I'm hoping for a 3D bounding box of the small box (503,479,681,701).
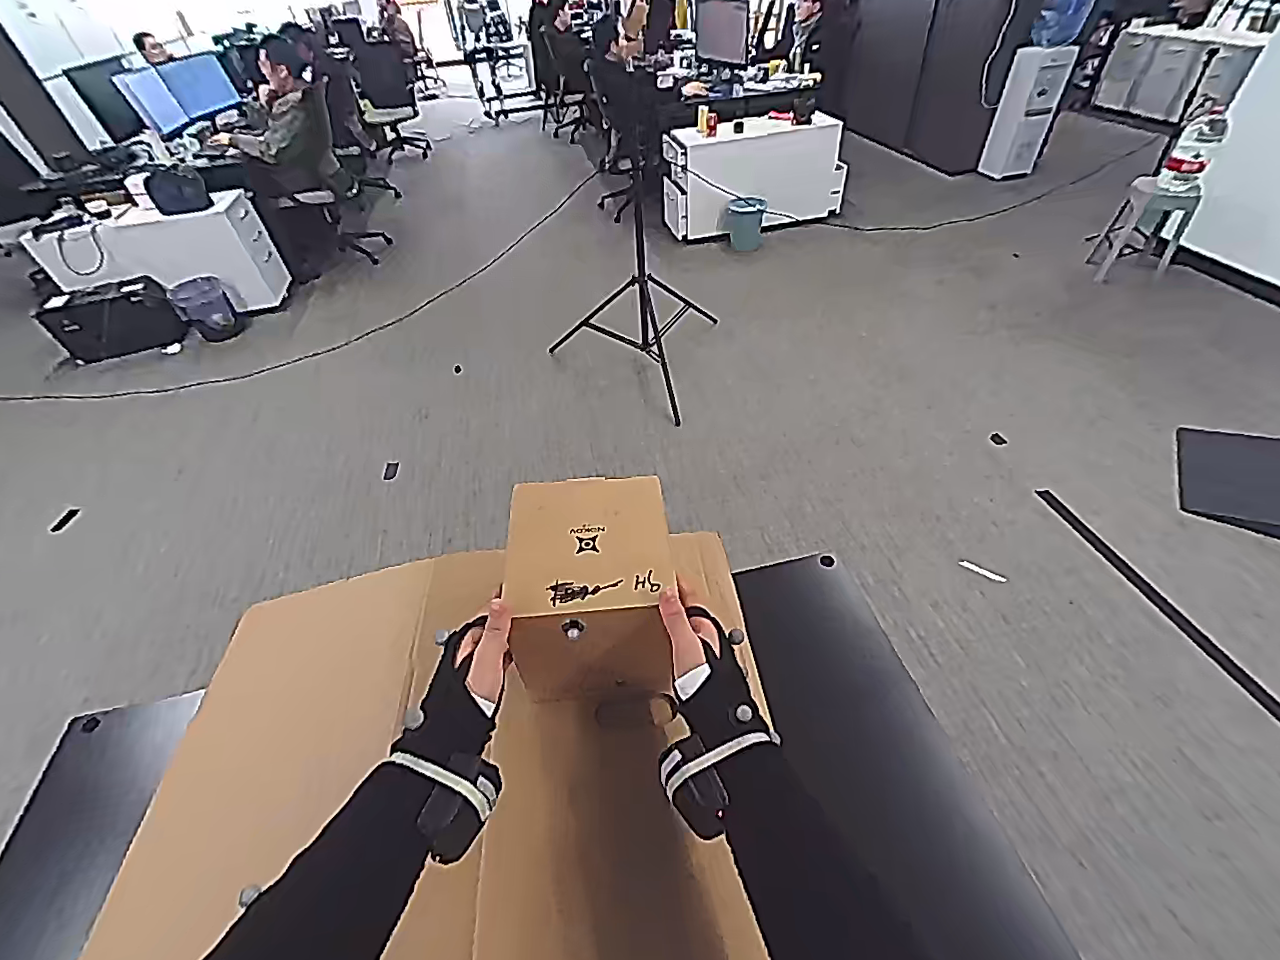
[{"bbox_3d":[-0.049,0.121,0.607,0.168,0.176,0.179,-5,43,-3],"label":"small box"}]
